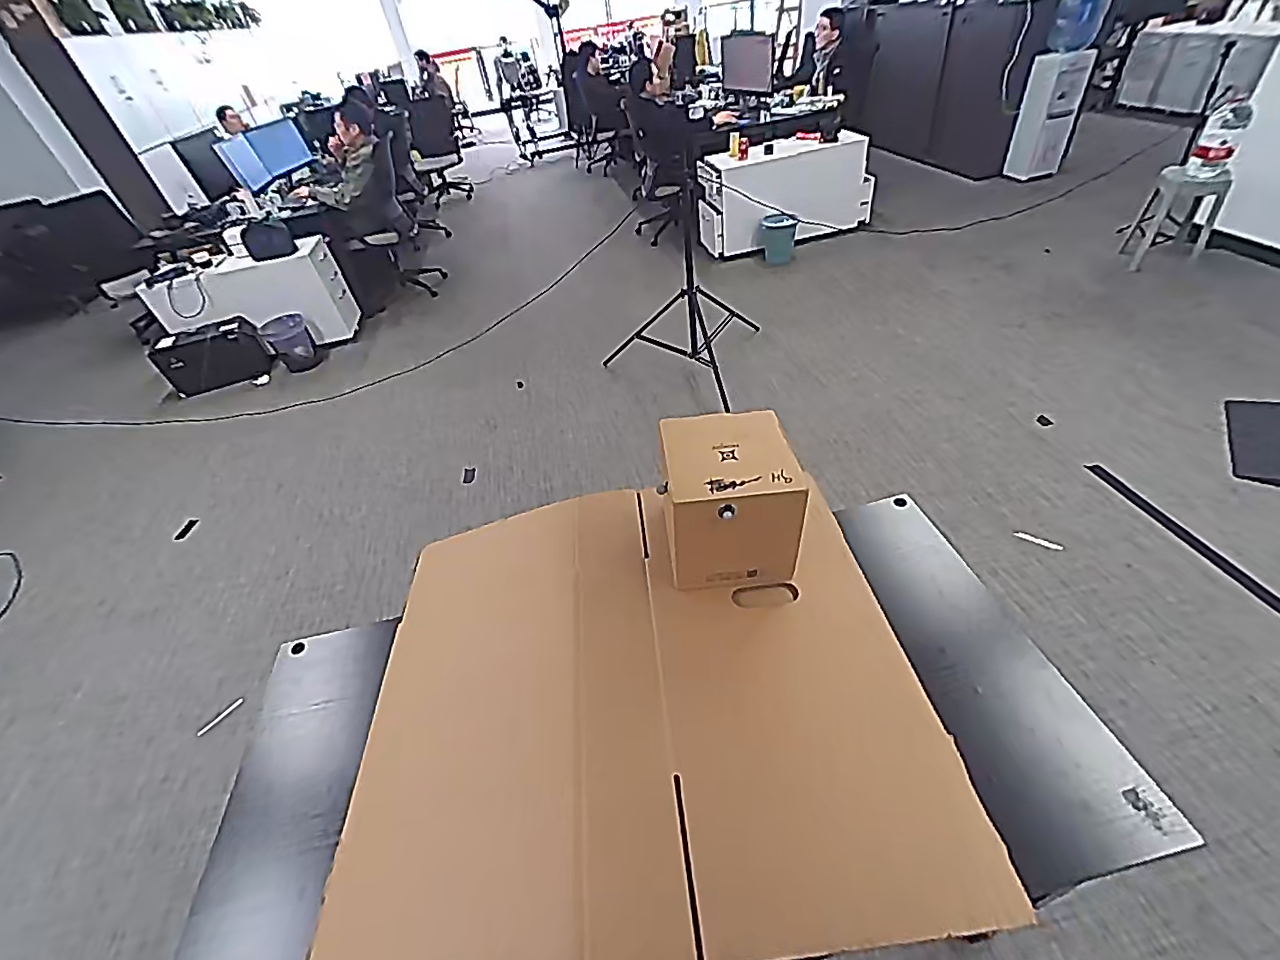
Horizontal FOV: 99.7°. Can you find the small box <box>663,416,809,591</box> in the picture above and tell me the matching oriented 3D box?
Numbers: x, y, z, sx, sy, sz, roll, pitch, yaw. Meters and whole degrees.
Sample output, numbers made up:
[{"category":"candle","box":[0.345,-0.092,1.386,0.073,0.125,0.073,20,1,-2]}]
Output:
[{"category":"small box","box":[0.122,0.032,0.759,0.168,0.176,0.179,-6,39,0]}]
